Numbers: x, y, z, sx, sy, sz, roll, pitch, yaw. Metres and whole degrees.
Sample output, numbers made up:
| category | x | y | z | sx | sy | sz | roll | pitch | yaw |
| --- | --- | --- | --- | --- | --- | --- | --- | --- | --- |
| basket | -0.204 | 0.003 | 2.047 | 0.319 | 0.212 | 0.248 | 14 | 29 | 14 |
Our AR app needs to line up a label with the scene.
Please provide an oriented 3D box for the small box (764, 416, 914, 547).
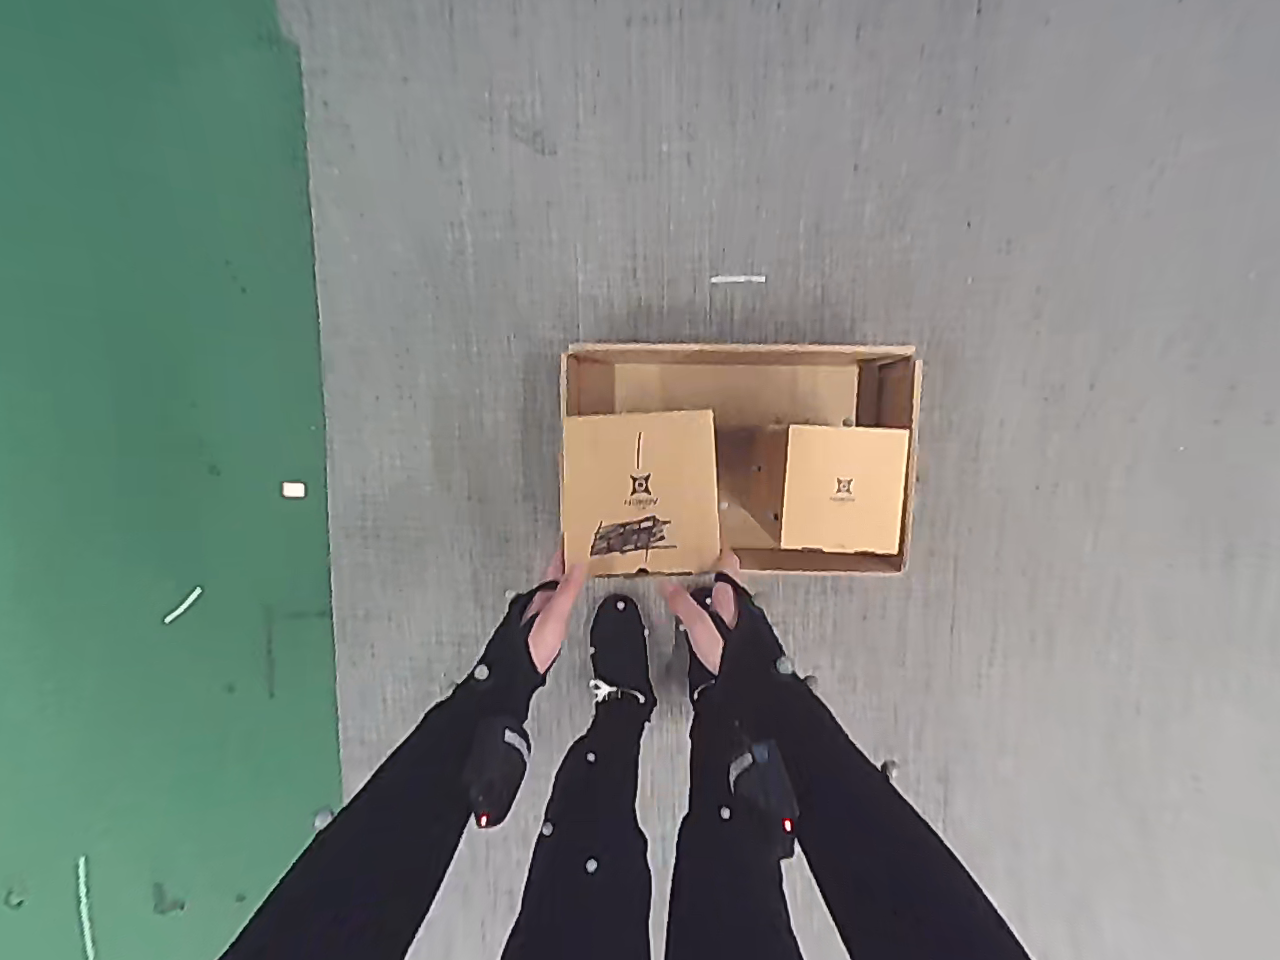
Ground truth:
| category | x | y | z | sx | sy | sz | roll | pitch | yaw |
| --- | --- | --- | --- | --- | --- | --- | --- | --- | --- |
| small box | 0.290 | -0.006 | 0.825 | 0.168 | 0.176 | 0.179 | 3 | 97 | 2 |

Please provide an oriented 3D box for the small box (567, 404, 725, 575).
| category | x | y | z | sx | sy | sz | roll | pitch | yaw |
| --- | --- | --- | --- | --- | --- | --- | --- | --- | --- |
| small box | 0.012 | 0.021 | 0.644 | 0.168 | 0.176 | 0.179 | -3 | 80 | 4 |
